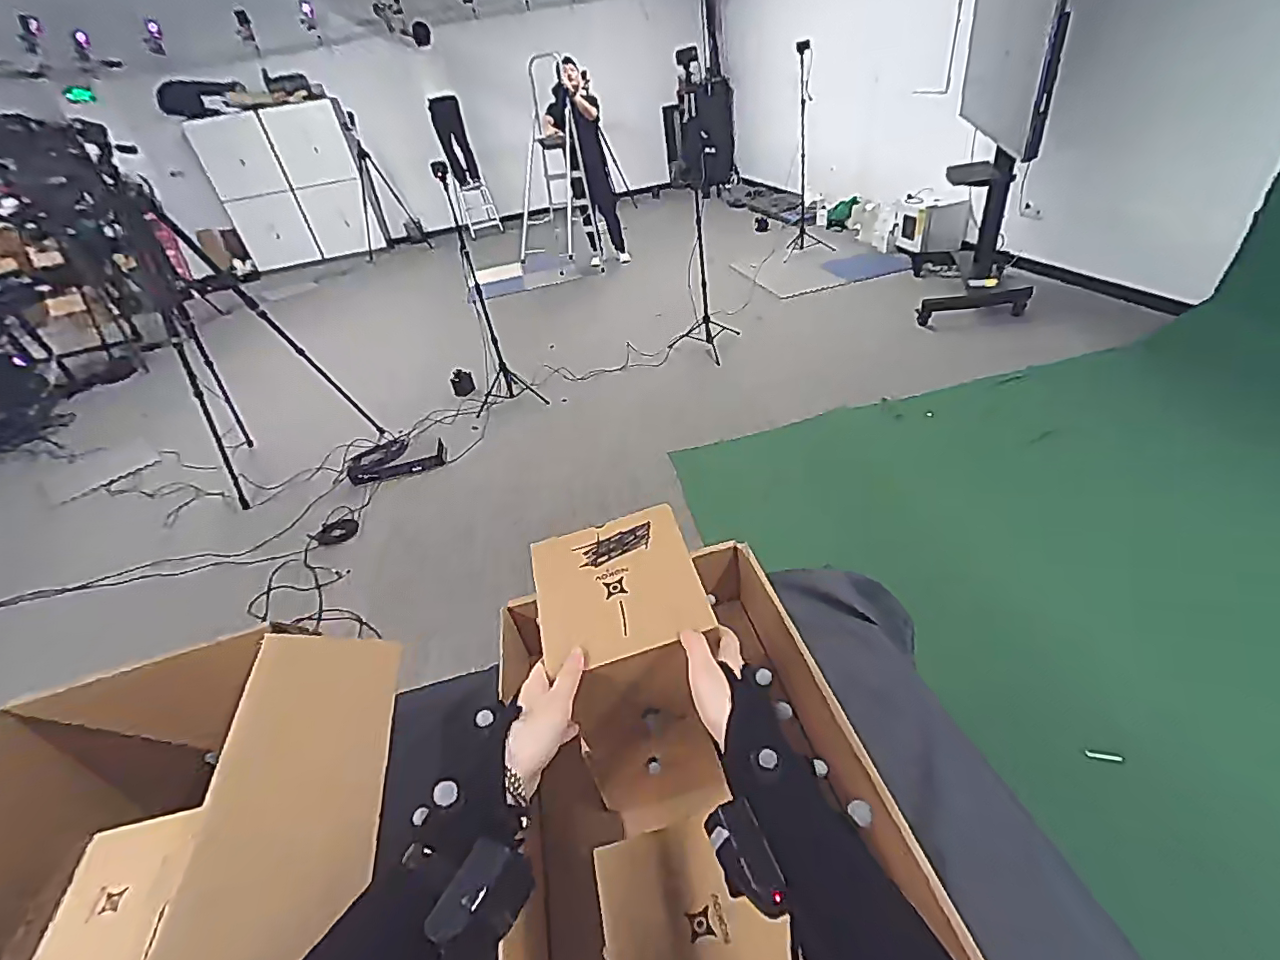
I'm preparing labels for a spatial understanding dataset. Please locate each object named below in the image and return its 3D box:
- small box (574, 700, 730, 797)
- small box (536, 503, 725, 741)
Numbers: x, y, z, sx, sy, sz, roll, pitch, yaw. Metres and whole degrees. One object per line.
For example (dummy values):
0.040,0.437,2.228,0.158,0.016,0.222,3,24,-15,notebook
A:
0.011,0.292,0.724,0.179,0.176,0.168,-14,40,-4,small box
-0.010,0.159,0.612,0.168,0.176,0.179,-16,43,-3,small box
